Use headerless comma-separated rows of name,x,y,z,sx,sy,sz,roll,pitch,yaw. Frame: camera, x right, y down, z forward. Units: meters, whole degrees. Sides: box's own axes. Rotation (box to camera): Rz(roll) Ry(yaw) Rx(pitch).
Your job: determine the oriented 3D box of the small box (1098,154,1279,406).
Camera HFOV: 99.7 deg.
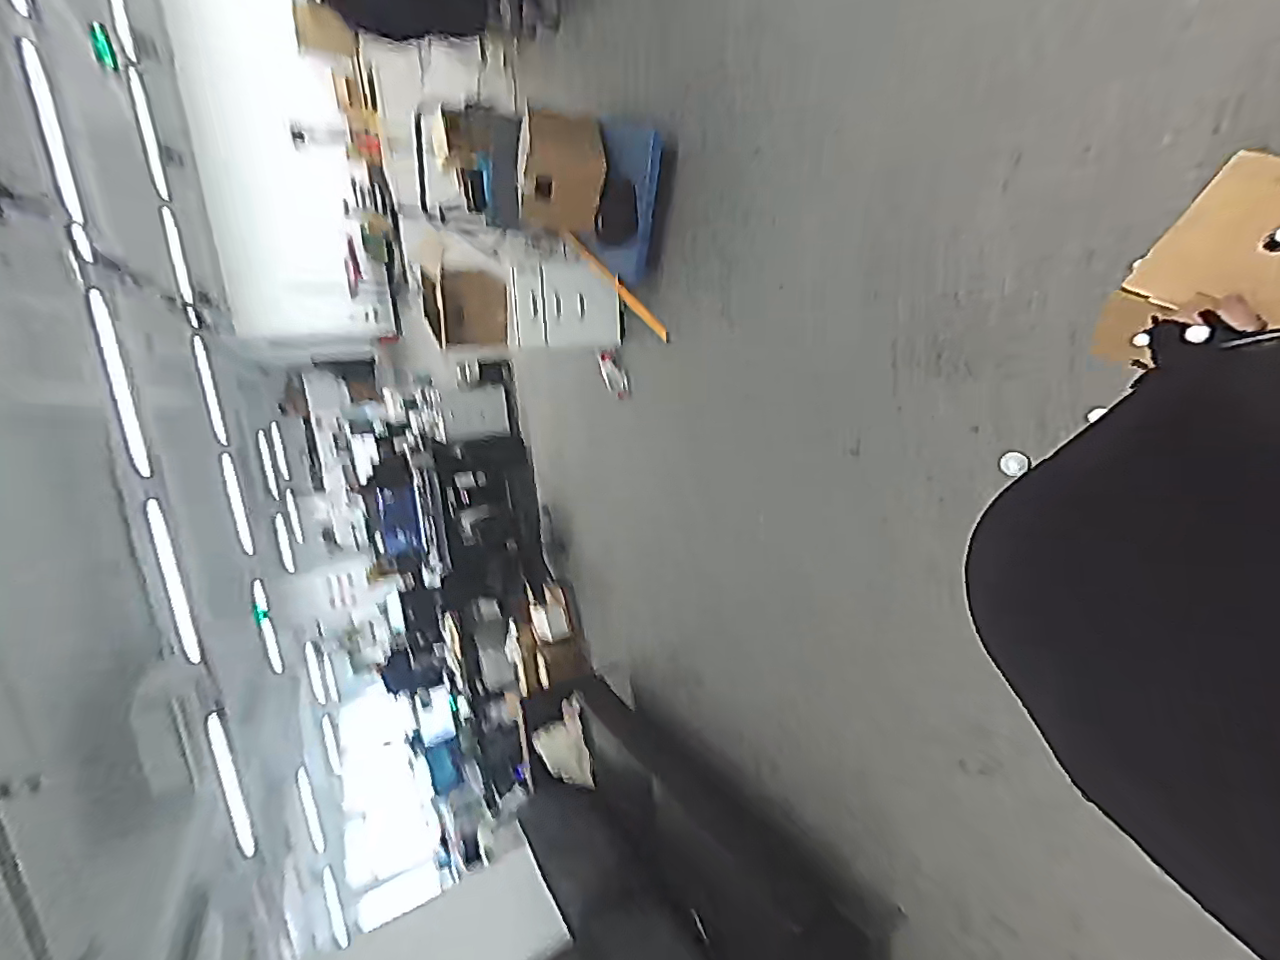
small box,0.663,-0.214,0.592,0.168,0.179,0.176,42,101,32
